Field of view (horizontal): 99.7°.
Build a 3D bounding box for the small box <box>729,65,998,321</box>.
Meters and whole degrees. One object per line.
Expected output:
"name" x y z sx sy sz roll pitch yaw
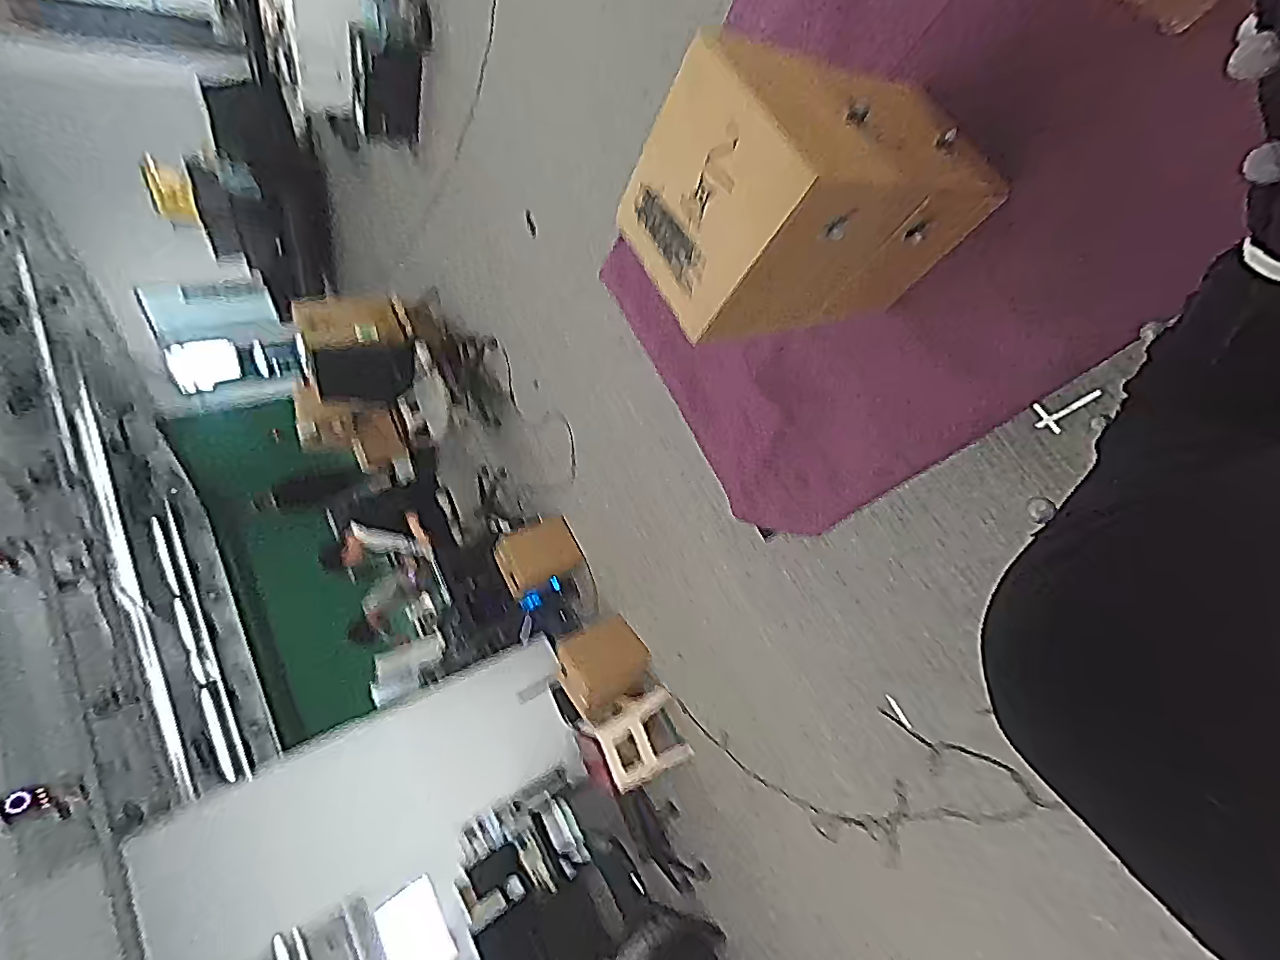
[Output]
"small box" 0.238 -0.301 0.593 0.168 0.176 0.179 60 145 15
